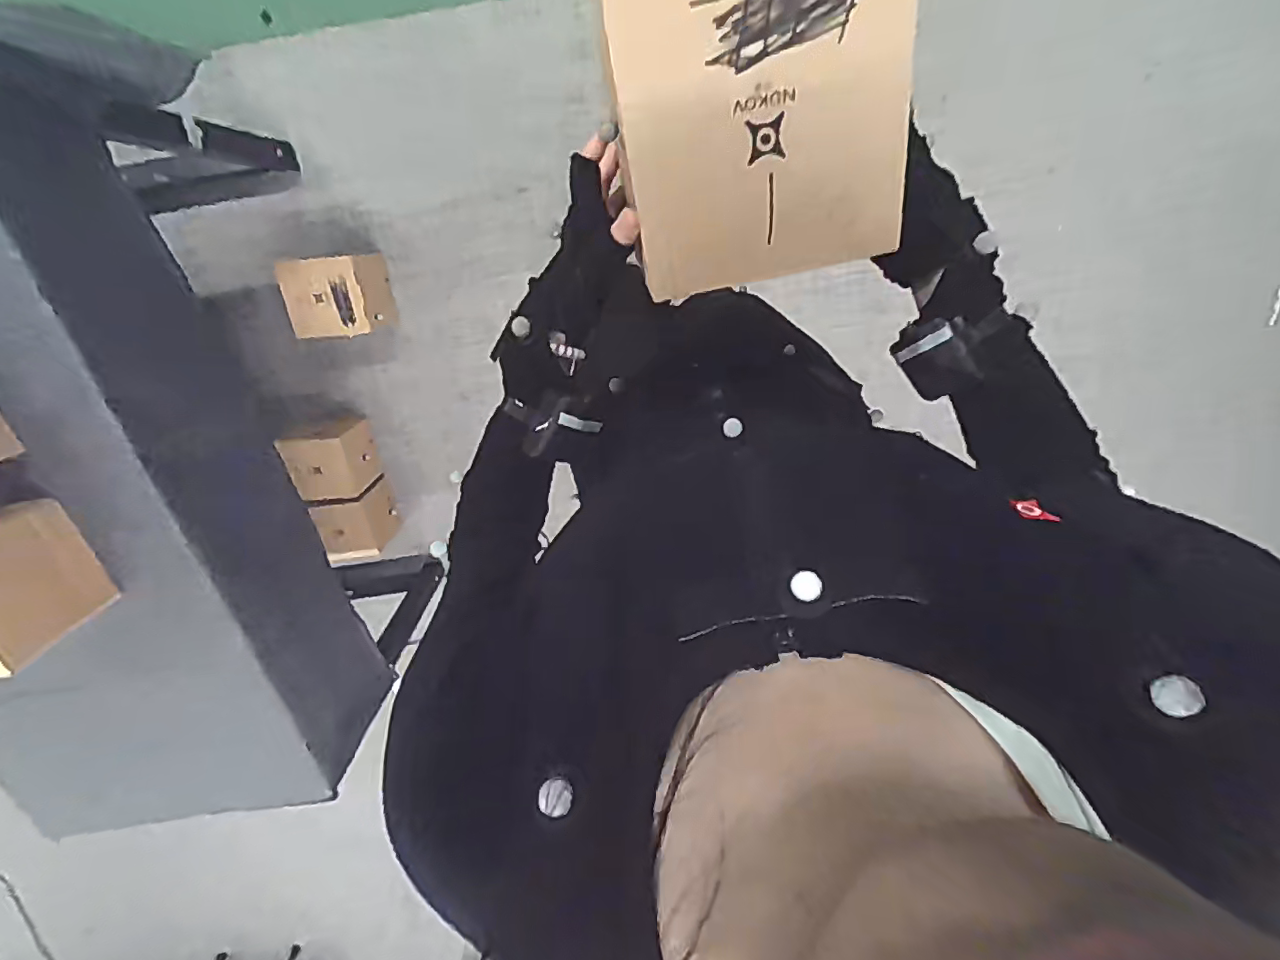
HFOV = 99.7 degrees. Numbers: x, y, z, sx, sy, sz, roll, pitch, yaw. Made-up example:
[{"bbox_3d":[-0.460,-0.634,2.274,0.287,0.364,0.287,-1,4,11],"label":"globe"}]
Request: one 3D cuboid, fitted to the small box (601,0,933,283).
[{"bbox_3d":[0.070,-0.252,0.365,0.168,0.176,0.179,-12,122,2],"label":"small box"}]
